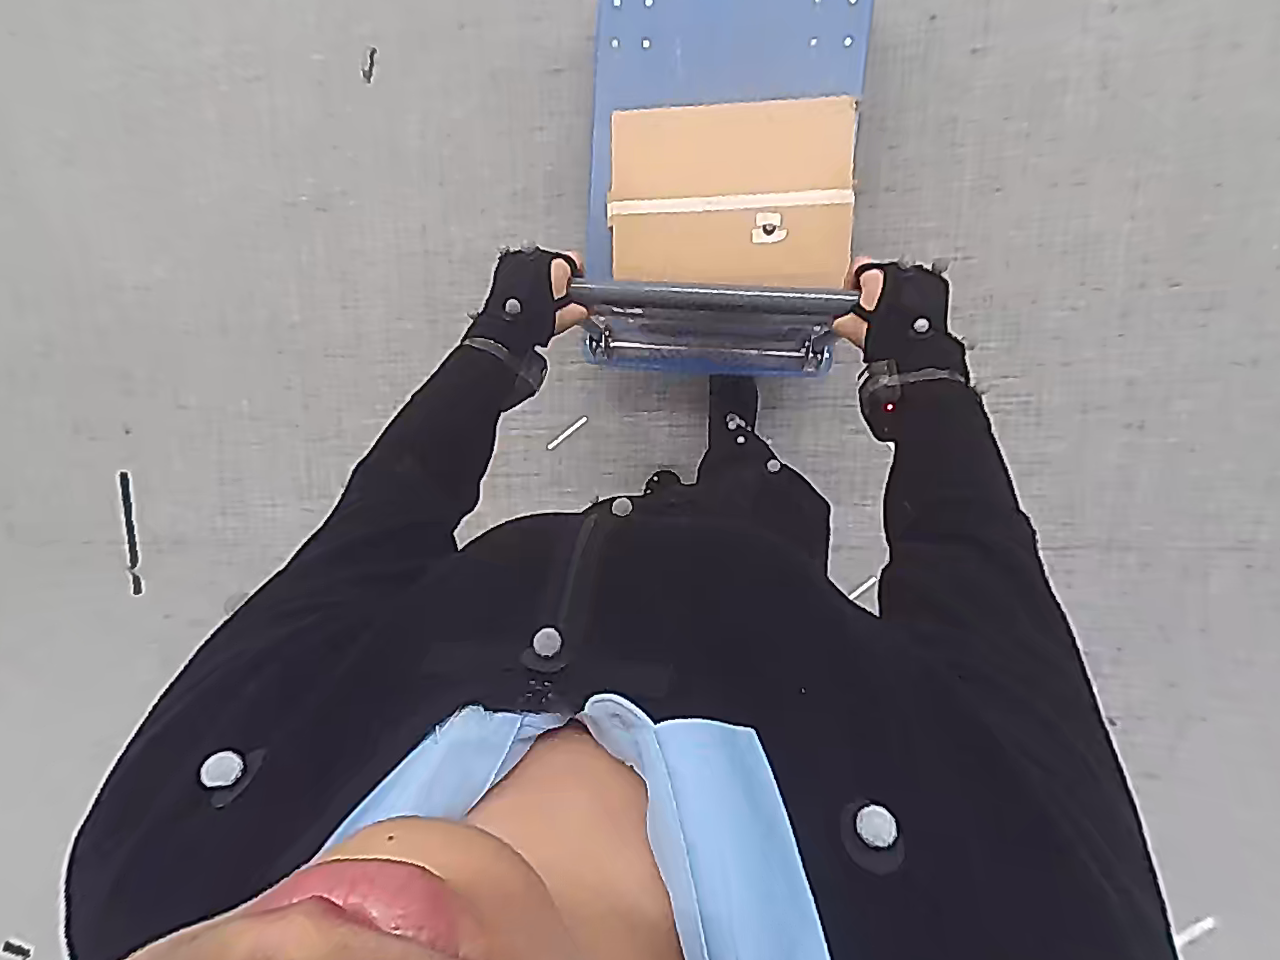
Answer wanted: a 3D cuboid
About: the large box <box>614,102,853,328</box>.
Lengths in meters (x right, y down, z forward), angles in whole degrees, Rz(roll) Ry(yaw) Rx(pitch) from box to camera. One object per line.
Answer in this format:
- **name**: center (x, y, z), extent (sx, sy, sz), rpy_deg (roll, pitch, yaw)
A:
- **large box**: center (0.169, -0.489, 1.074), extent (0.408, 0.320, 0.320), rpy_deg (0, 99, 5)
